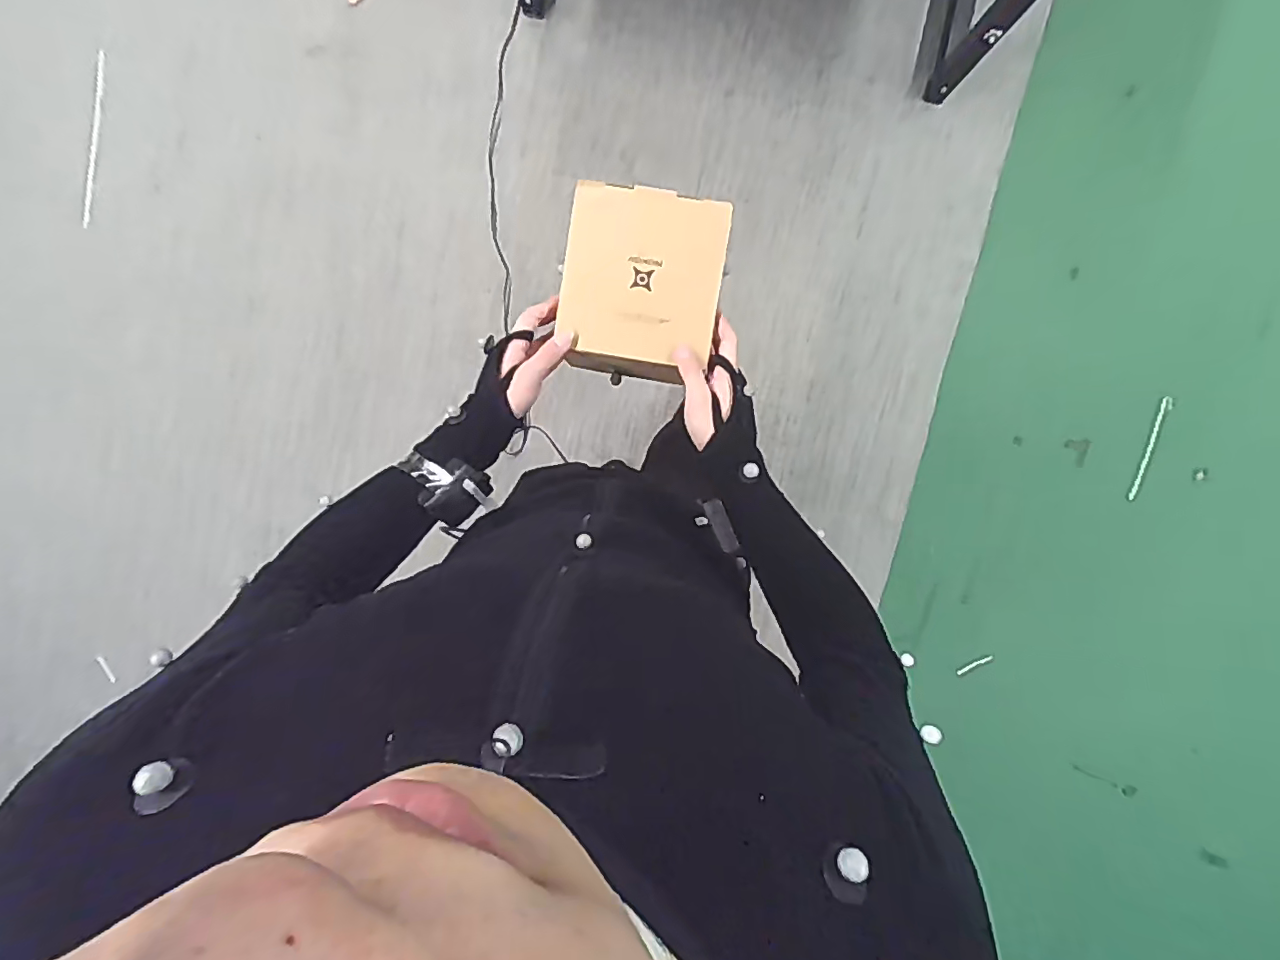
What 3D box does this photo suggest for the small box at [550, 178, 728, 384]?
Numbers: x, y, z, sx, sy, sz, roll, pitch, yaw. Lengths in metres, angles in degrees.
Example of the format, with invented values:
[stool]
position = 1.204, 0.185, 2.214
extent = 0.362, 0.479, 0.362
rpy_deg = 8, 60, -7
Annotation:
[small box]
position = -0.002, -0.221, 0.645
extent = 0.168, 0.176, 0.179
rpy_deg = 9, 94, 0
